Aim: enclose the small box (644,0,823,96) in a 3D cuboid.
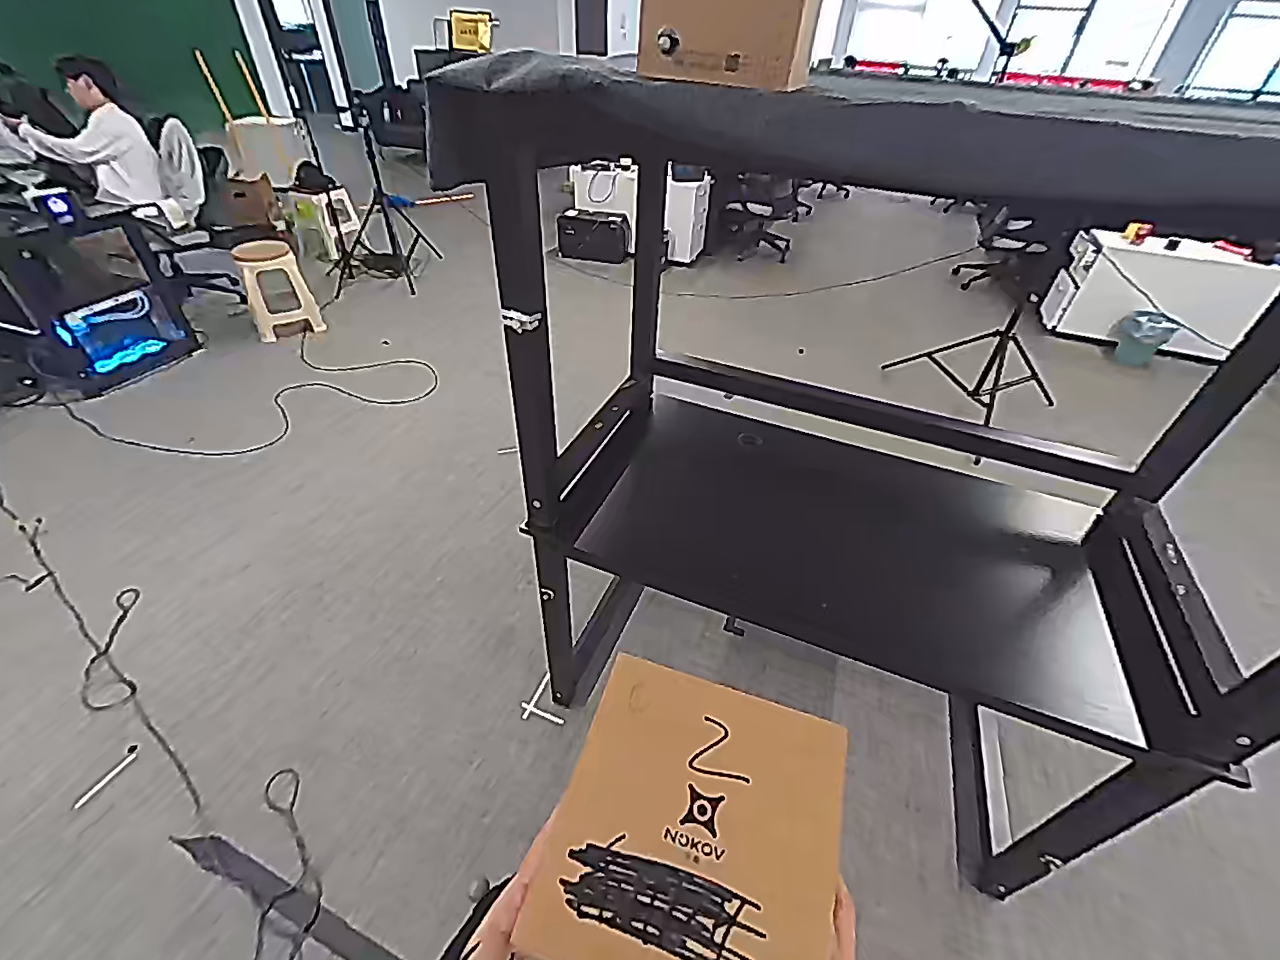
[{"bbox_3d":[0.107,-0.522,0.580,0.168,0.176,0.179,16,40,12],"label":"small box"}]
